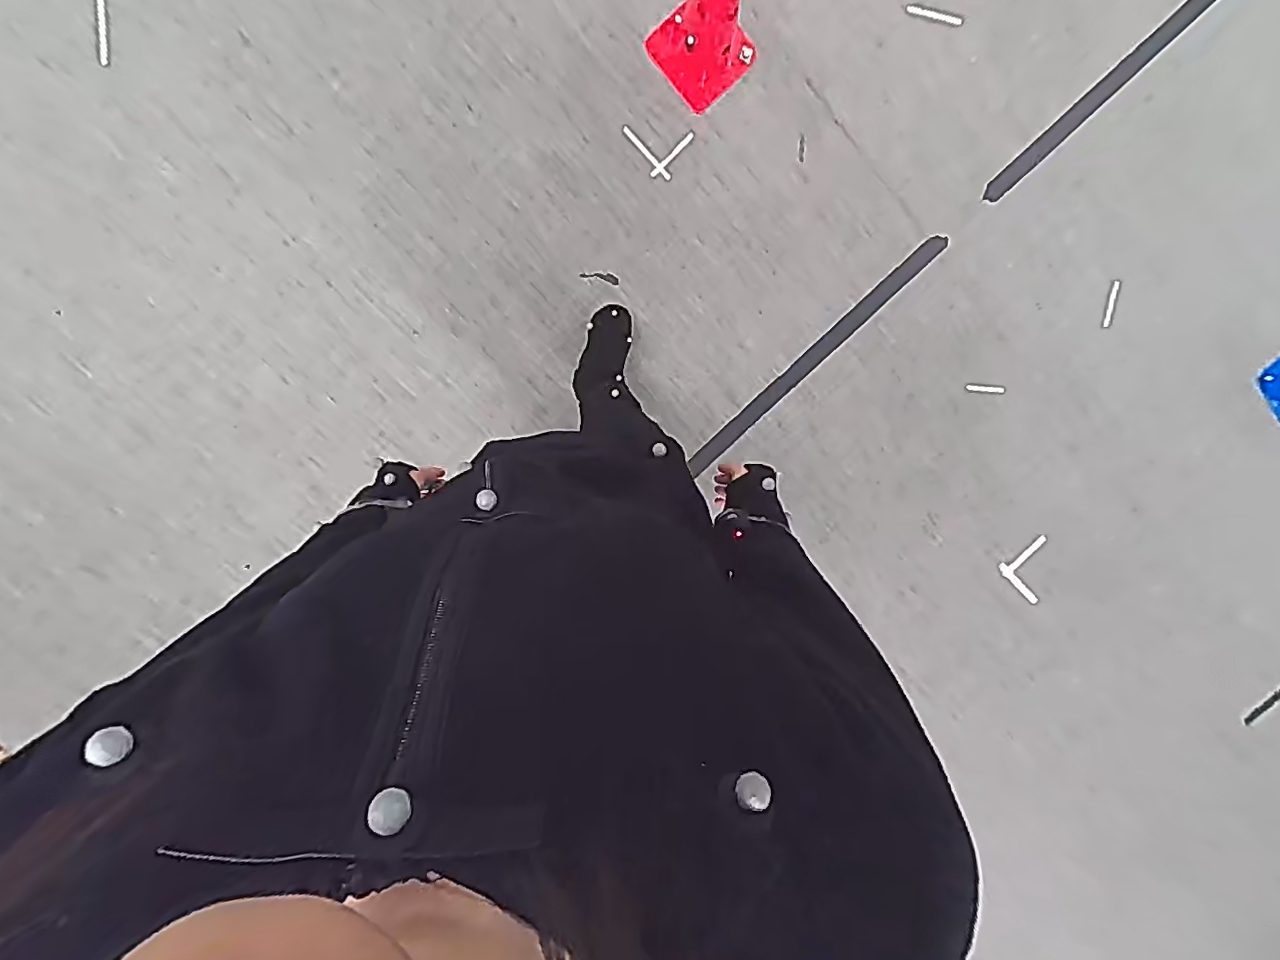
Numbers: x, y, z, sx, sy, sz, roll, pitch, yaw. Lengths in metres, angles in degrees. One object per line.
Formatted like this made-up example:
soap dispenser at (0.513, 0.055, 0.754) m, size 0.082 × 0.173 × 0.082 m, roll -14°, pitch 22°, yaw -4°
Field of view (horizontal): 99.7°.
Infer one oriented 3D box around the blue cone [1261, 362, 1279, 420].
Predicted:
blue cone at (1.864, -0.243, 1.353) m, size 0.192 × 0.380 × 0.193 m, roll -40°, pitch 101°, yaw 4°
